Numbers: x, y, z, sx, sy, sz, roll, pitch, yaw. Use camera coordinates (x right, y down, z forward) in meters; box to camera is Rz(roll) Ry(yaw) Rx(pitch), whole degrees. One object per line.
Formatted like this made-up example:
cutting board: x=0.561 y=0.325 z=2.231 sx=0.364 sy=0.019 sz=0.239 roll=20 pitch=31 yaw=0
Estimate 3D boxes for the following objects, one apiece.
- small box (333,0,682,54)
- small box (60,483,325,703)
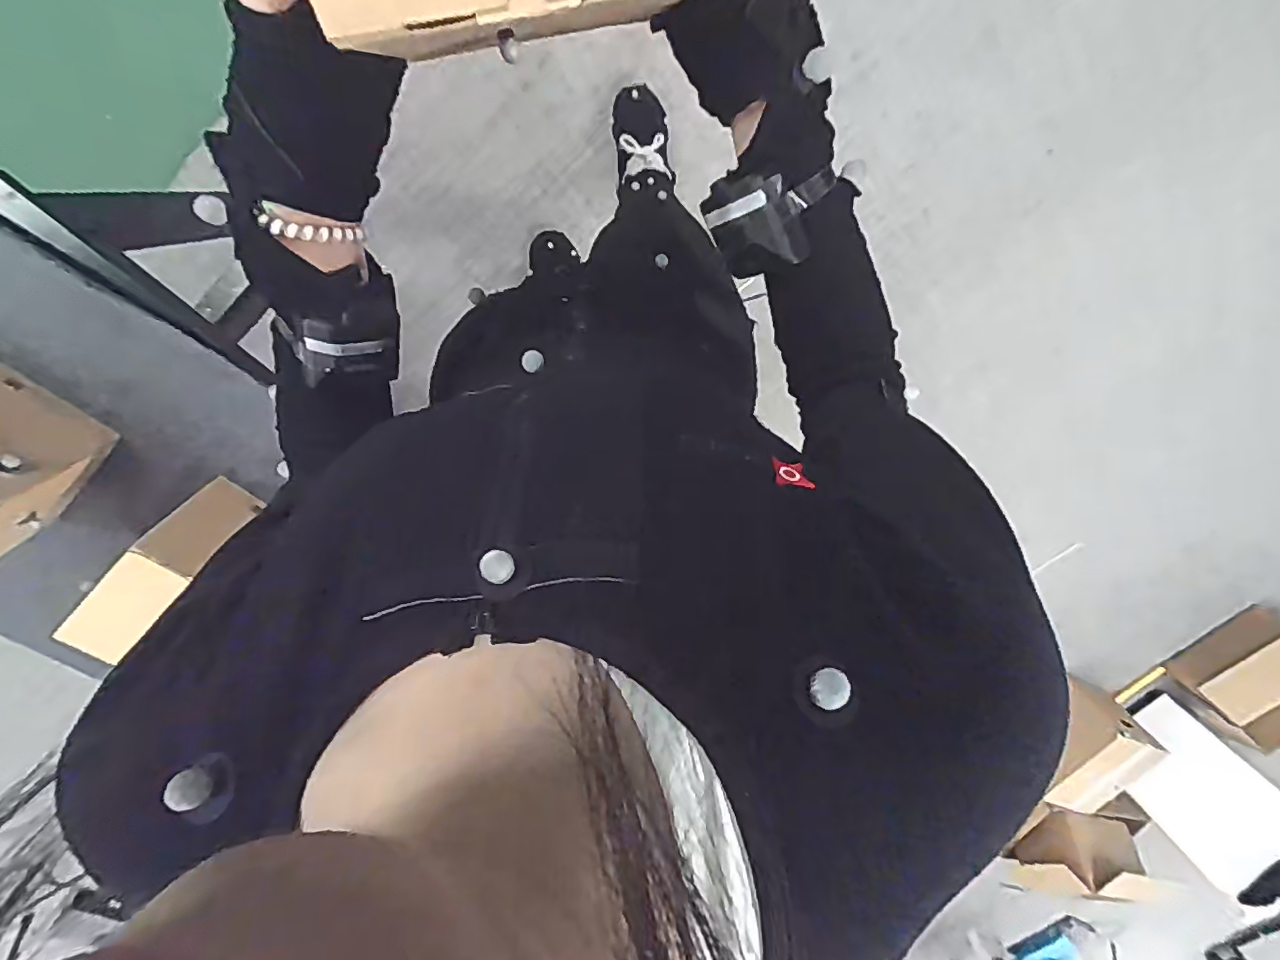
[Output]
small box: x=-0.067 y=-0.309 z=0.234 sx=0.168 sy=0.176 sz=0.179 roll=-13 pitch=129 yaw=-3
small box: x=-0.549 y=0.139 z=0.692 sx=0.179 sy=0.176 sz=0.168 roll=-39 pitch=116 yaw=14
